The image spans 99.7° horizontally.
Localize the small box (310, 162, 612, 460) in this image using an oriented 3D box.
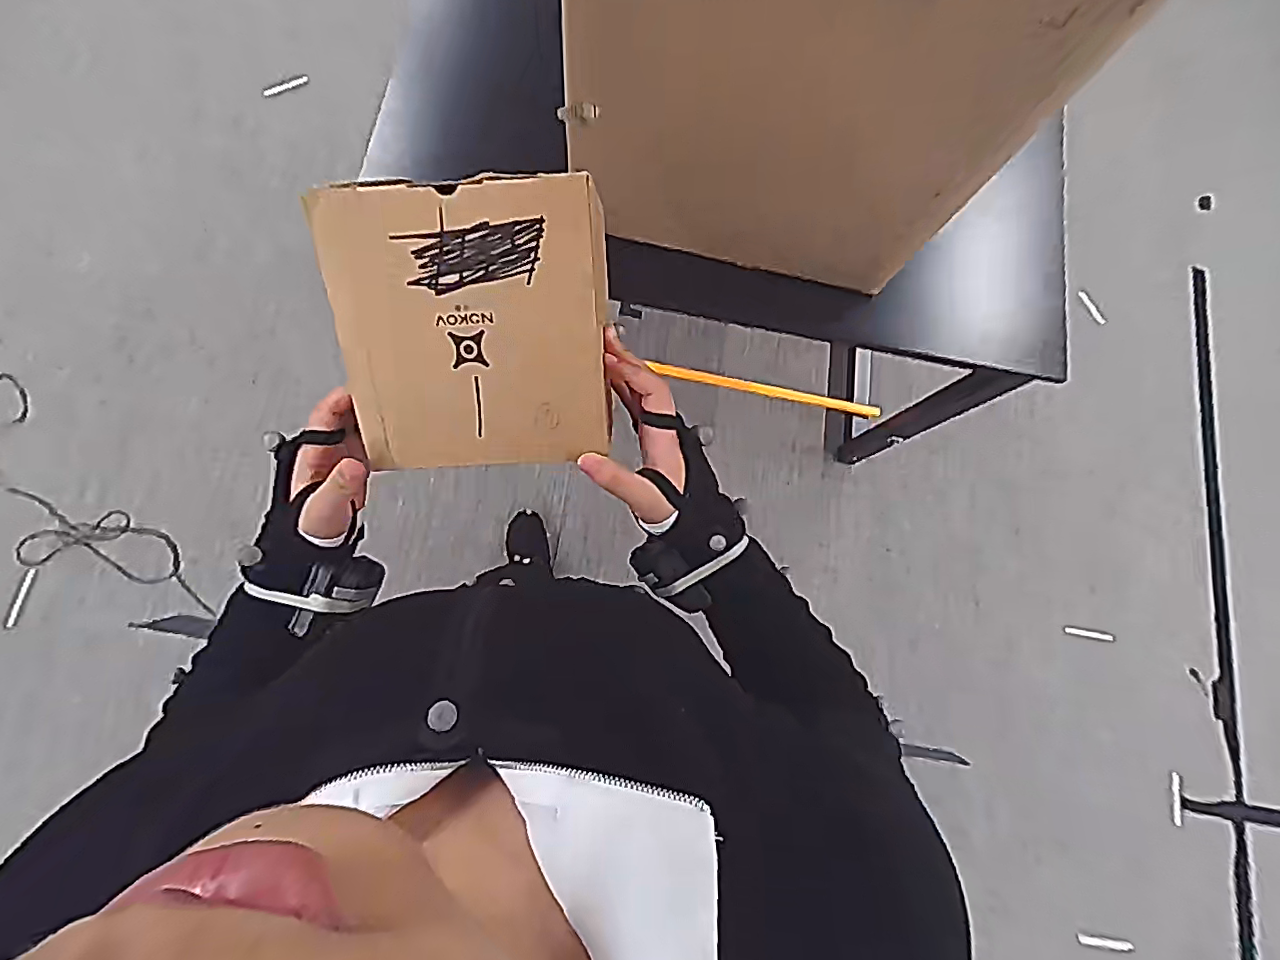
[{"bbox_3d":[-0.108,-0.125,0.413,0.168,0.176,0.179,-3,110,0],"label":"small box"}]
